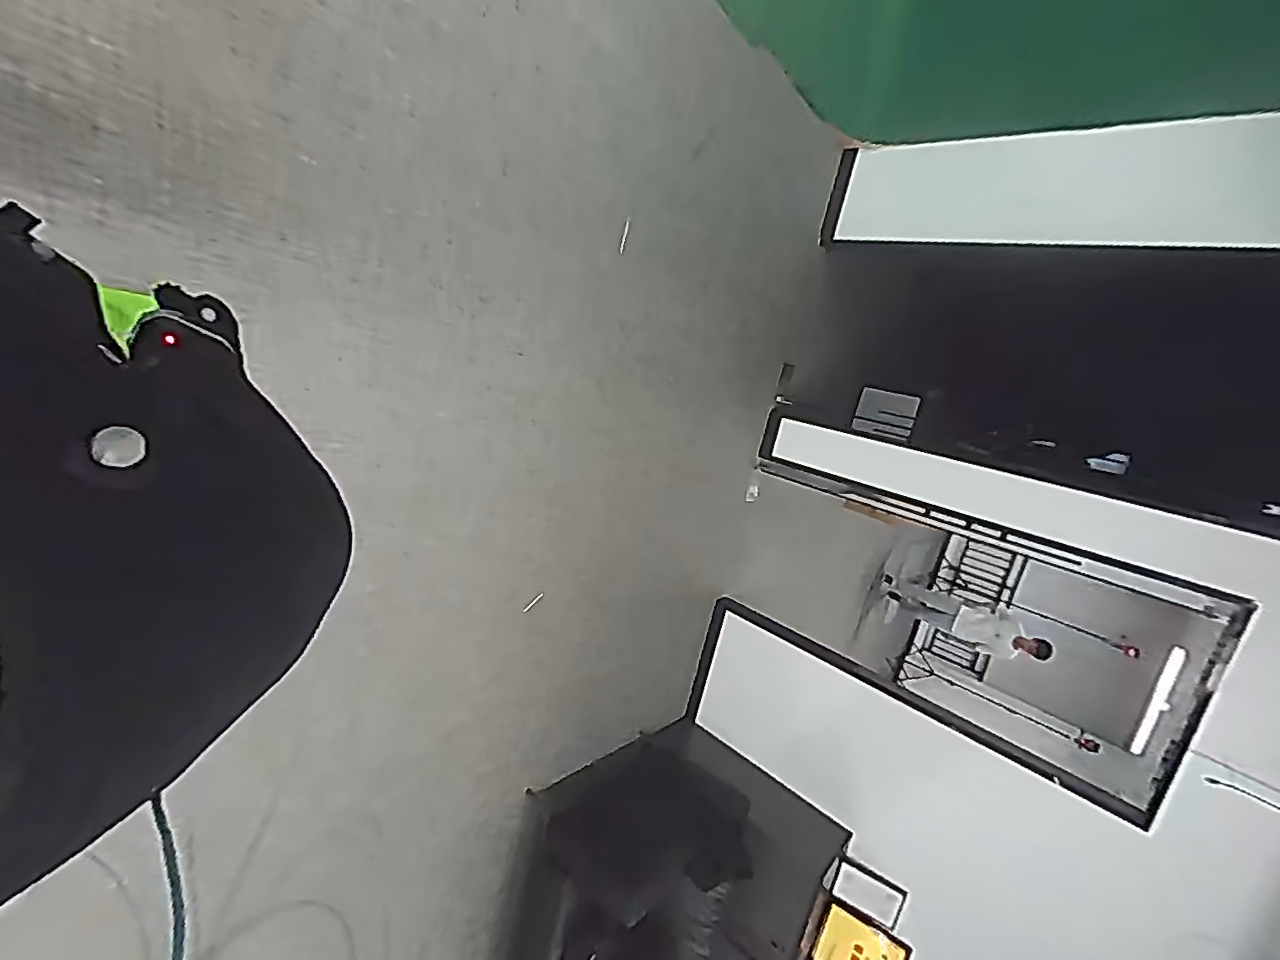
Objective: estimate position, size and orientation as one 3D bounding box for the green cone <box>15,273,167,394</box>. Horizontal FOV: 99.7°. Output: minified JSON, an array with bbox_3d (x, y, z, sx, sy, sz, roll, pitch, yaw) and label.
[{"bbox_3d":[-0.916,-0.222,0.923,0.202,0.368,0.200,-1,107,-48],"label":"green cone"}]
